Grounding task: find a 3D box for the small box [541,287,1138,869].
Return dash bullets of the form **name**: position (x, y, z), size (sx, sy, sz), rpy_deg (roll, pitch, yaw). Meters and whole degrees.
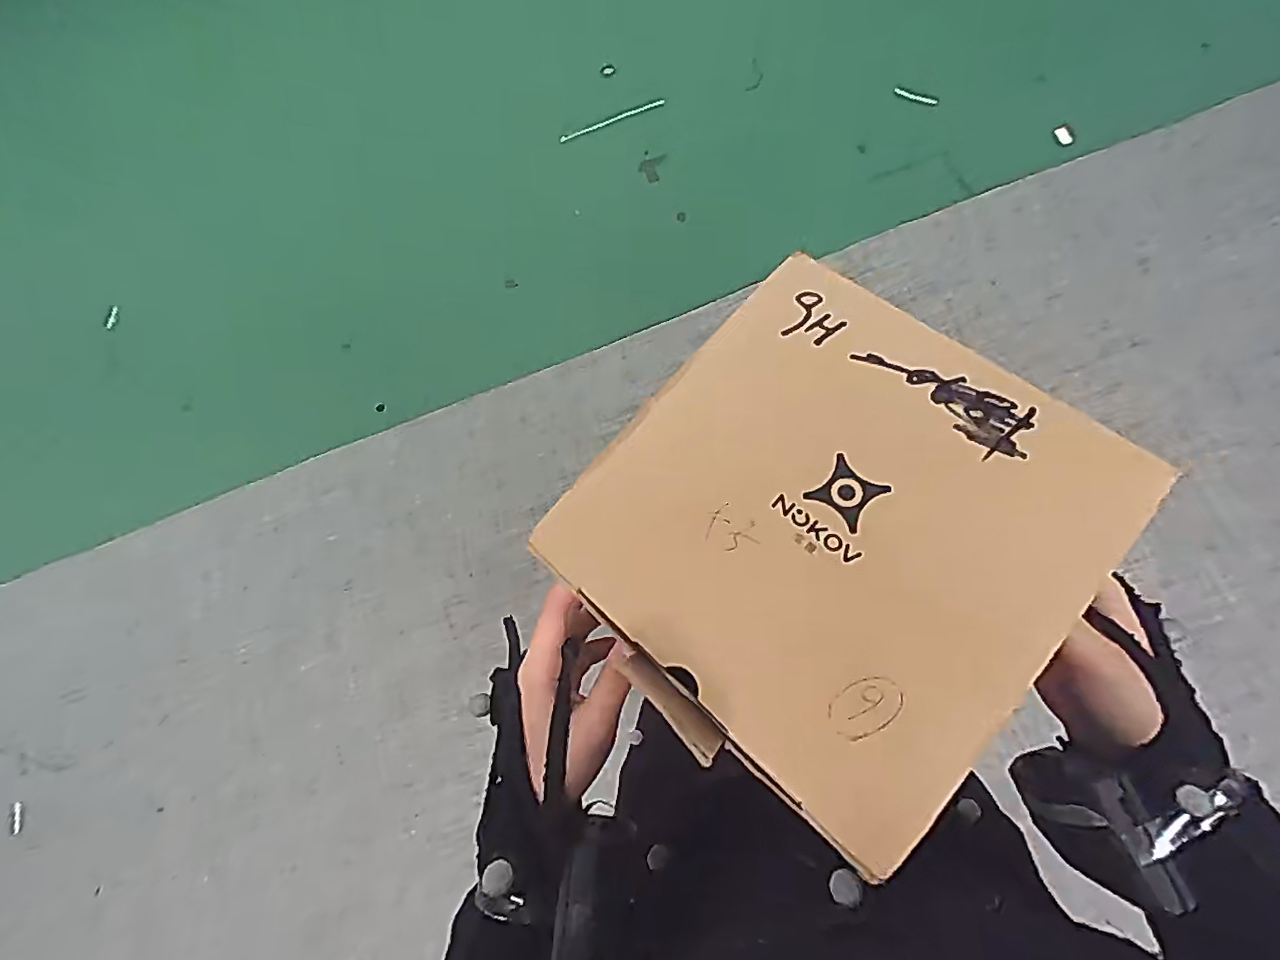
- **small box**: position (0.084, 0.045, 0.290), size (0.168, 0.176, 0.179), rpy_deg (40, 81, 19)
